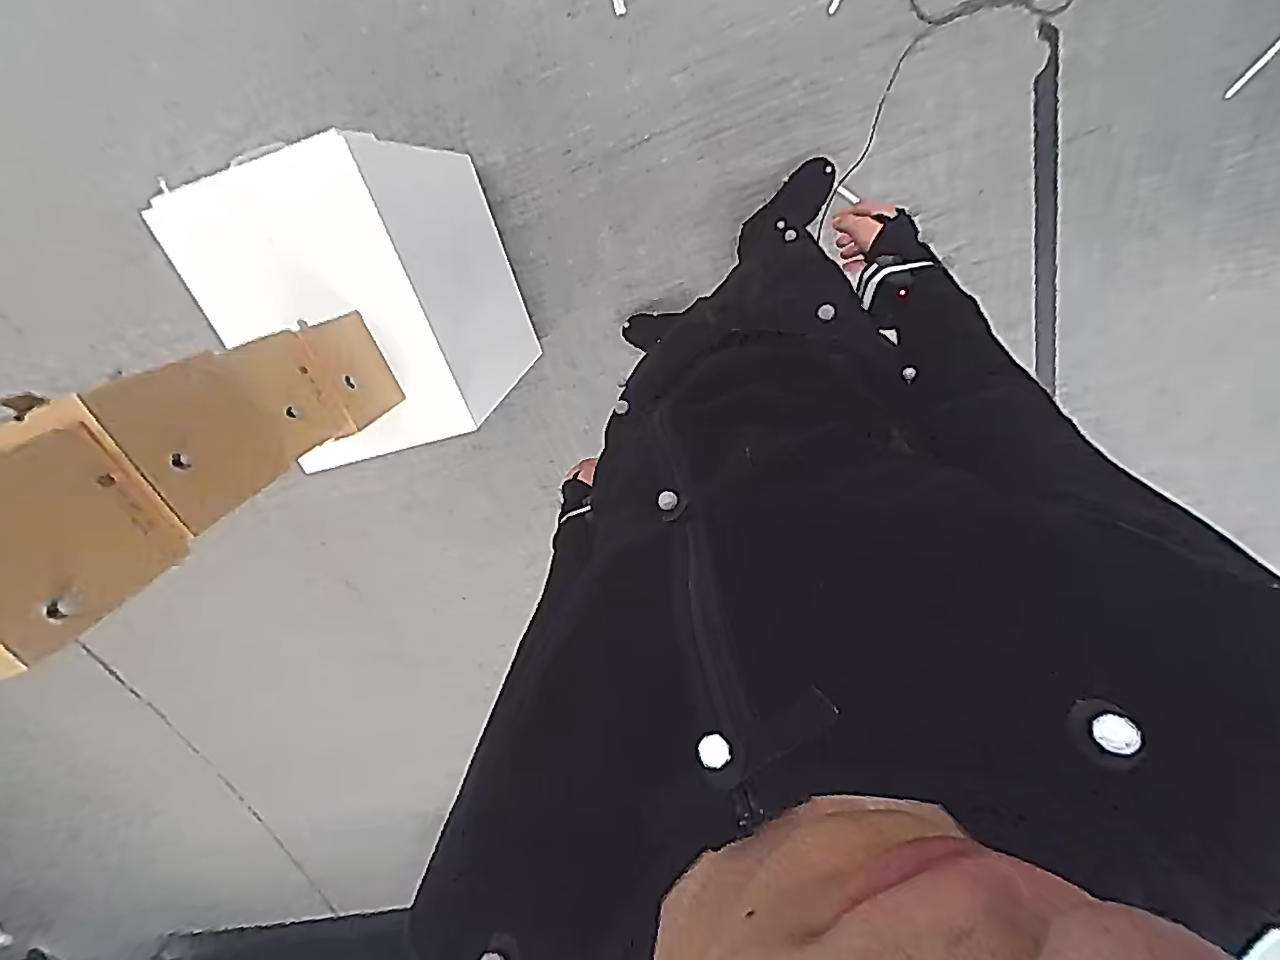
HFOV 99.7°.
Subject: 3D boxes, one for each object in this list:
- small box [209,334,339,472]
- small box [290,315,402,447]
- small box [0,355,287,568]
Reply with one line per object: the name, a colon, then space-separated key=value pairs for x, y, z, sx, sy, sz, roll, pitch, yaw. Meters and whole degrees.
small box: x=-0.580 y=-0.098 z=0.791 sx=0.179 sy=0.176 sz=0.168 roll=-14 pitch=116 yaw=12
small box: x=-0.551 y=-0.166 z=0.936 sx=0.168 sy=0.176 sz=0.179 roll=-16 pitch=115 yaw=12
small box: x=-0.575 y=-0.027 z=0.641 sx=0.168 sy=0.176 sz=0.179 roll=-15 pitch=115 yaw=12
